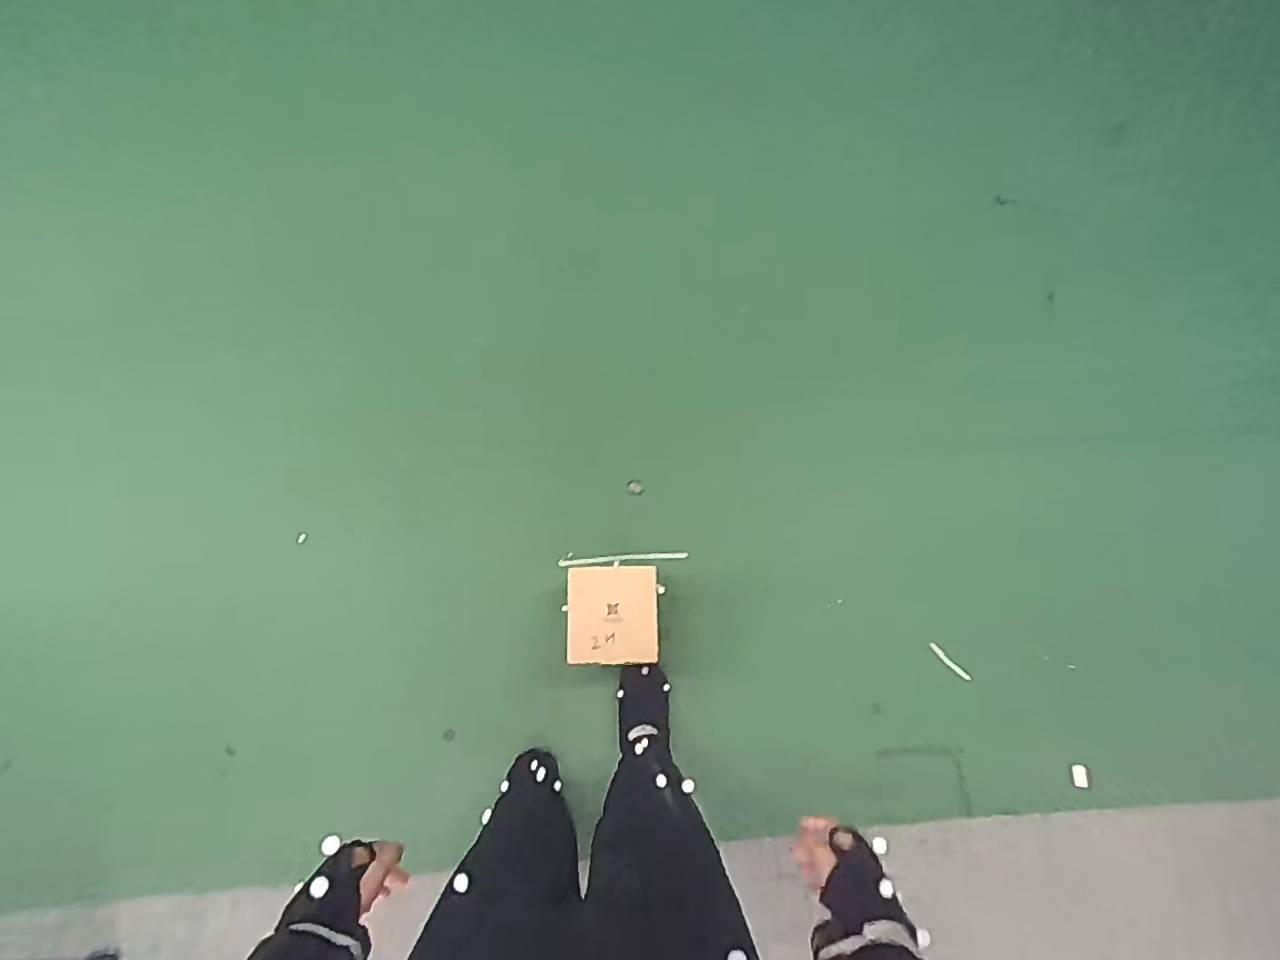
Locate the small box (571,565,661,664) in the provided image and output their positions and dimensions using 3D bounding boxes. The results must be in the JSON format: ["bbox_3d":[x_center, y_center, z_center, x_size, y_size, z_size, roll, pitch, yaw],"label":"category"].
[{"bbox_3d":[-0.045,0.265,1.072,0.168,0.176,0.179,-2,78,0],"label":"small box"}]
